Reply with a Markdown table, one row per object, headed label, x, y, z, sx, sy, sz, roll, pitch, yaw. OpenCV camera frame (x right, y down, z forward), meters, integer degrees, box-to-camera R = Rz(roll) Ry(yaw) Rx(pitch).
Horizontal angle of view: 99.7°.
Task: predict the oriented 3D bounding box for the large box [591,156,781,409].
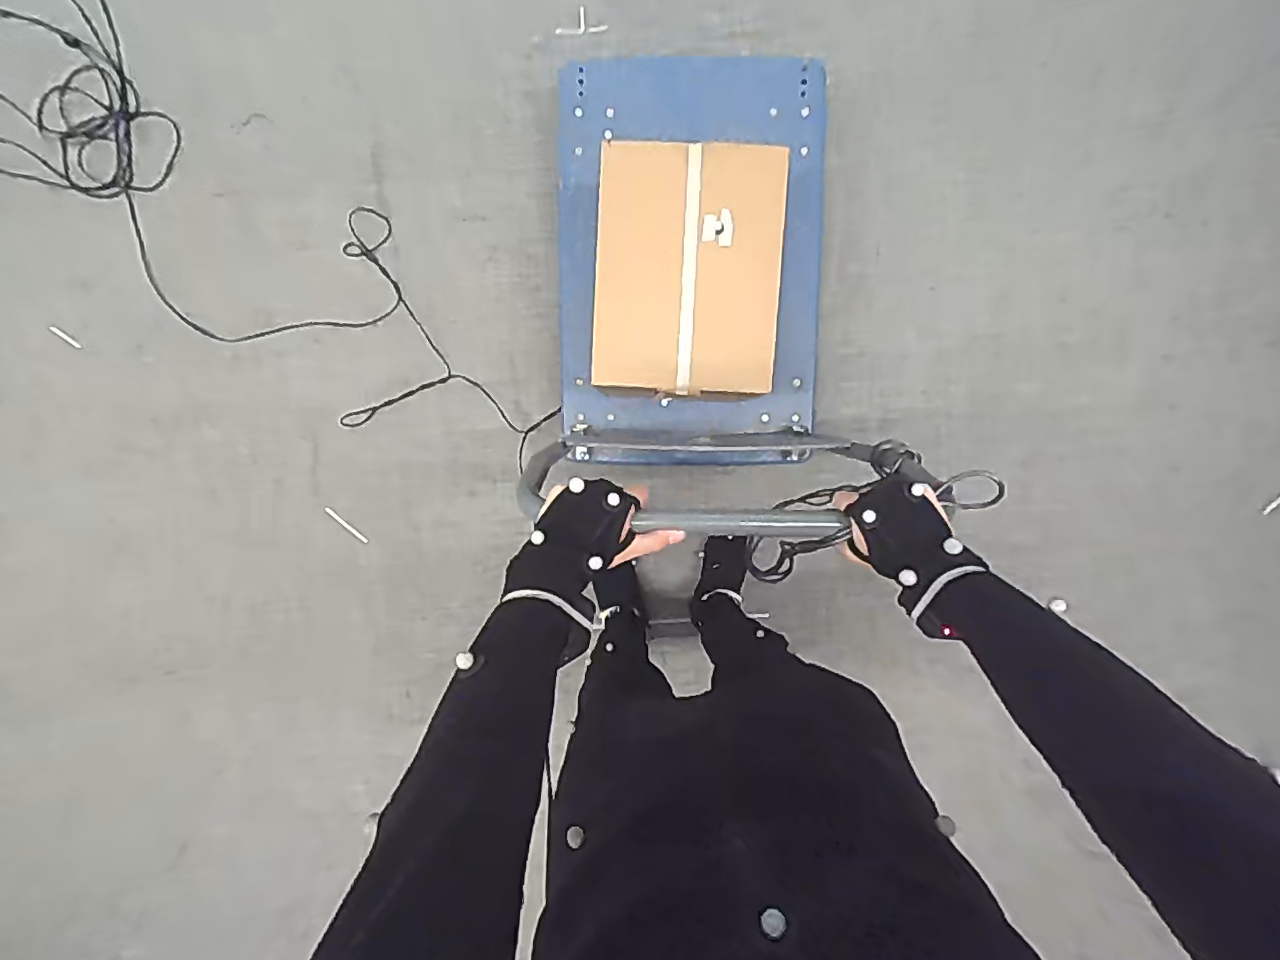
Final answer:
| label | x | y | z | sx | sy | sz | roll | pitch | yaw |
| --- | --- | --- | --- | --- | --- | --- | --- | --- | --- |
| large box | 0.080 | -0.351 | 1.068 | 0.320 | 0.320 | 0.408 | 3 | 94 | 0 |
